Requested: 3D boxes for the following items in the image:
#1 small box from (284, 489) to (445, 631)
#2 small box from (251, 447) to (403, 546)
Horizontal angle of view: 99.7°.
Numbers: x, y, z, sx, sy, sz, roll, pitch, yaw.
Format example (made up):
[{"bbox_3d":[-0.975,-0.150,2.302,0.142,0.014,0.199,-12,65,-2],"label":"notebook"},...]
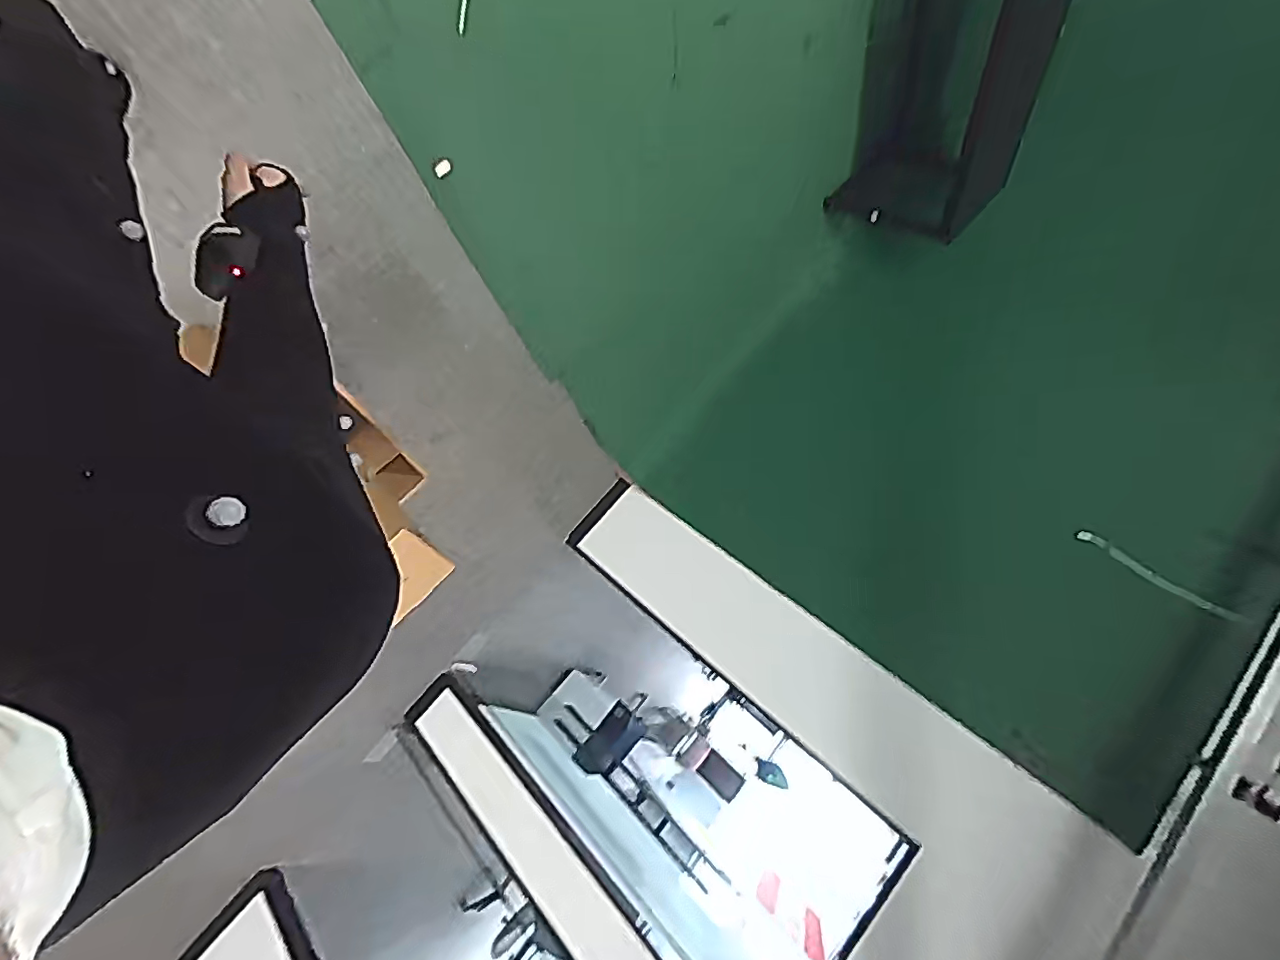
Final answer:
[{"bbox_3d":[-0.509,0.146,1.008,0.168,0.176,0.179,-46,149,-14],"label":"small box"},{"bbox_3d":[-0.625,0.057,1.082,0.168,0.176,0.179,-45,148,-14],"label":"small box"}]
